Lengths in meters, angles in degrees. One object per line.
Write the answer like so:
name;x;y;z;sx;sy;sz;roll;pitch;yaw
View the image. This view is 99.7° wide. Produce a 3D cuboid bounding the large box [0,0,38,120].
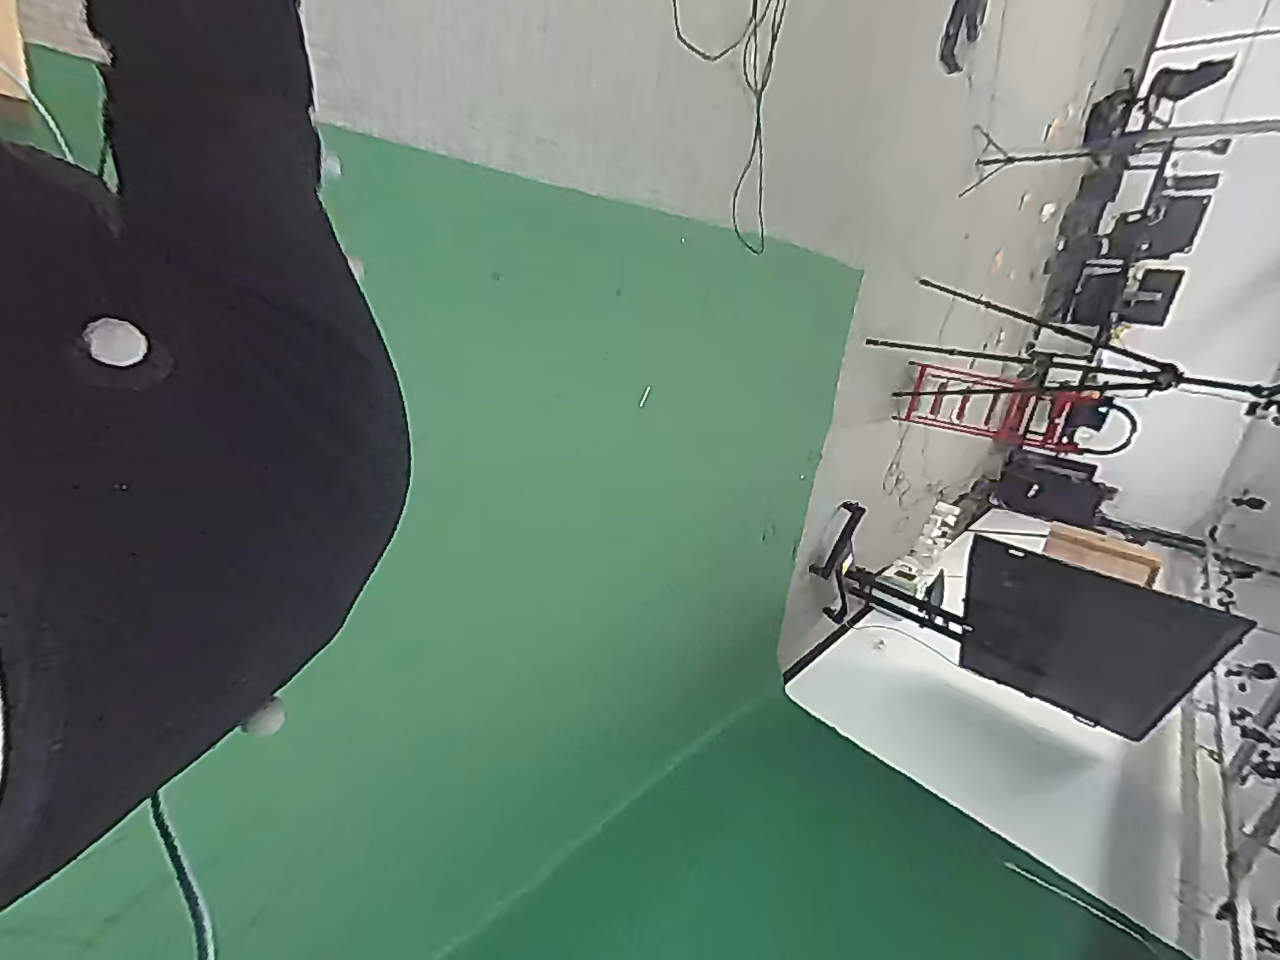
large box;-1.047;-0.681;0.643;0.408;0.320;0.320;-11;117;-46
